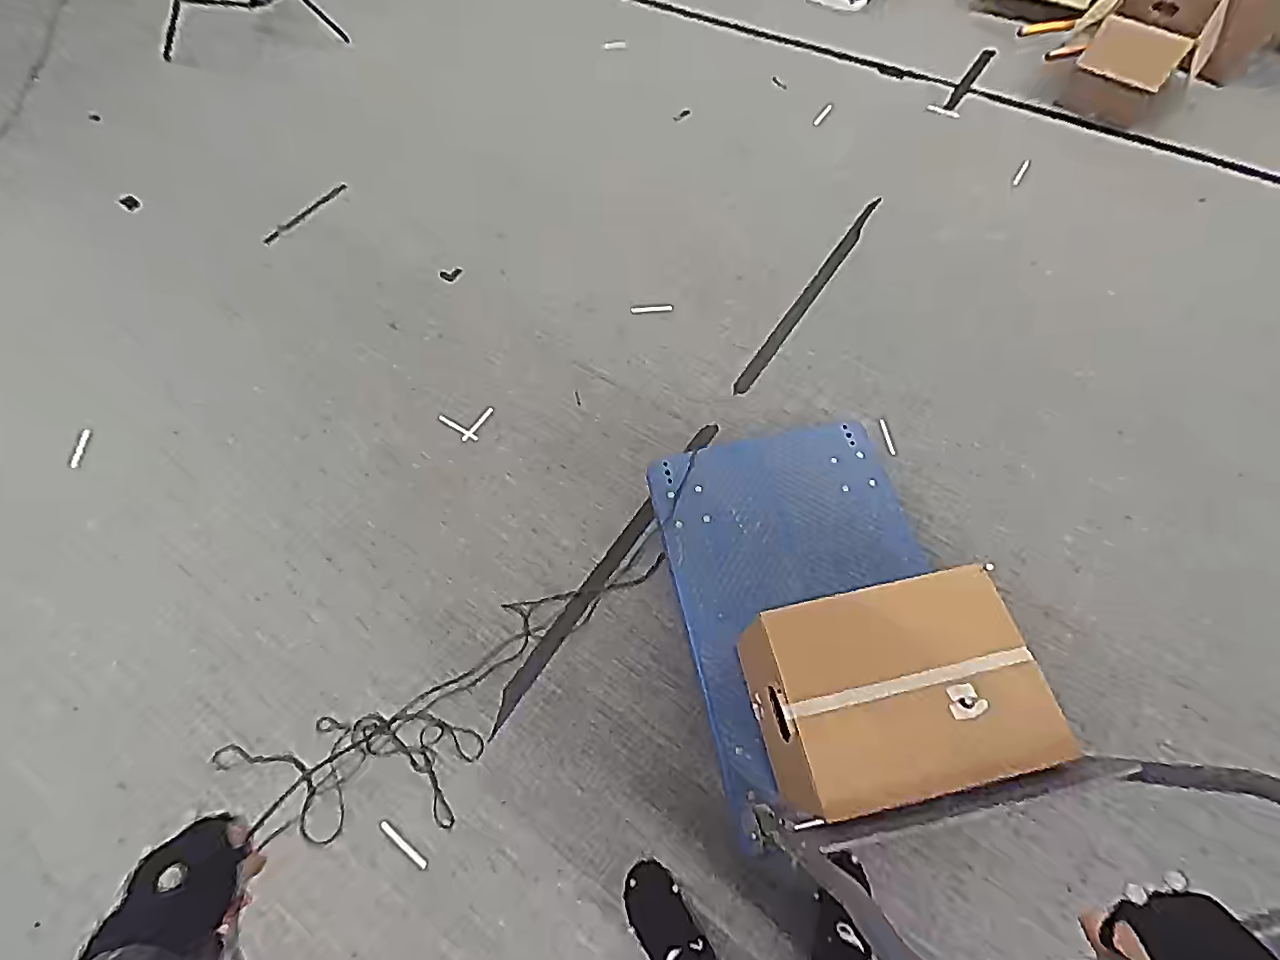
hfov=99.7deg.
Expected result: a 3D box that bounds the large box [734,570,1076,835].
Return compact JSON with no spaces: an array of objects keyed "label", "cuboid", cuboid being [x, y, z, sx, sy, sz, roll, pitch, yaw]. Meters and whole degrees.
[{"label":"large box","cuboid":[0.422,0.396,0.978,0.408,0.320,0.320,-12,64,-5]}]
